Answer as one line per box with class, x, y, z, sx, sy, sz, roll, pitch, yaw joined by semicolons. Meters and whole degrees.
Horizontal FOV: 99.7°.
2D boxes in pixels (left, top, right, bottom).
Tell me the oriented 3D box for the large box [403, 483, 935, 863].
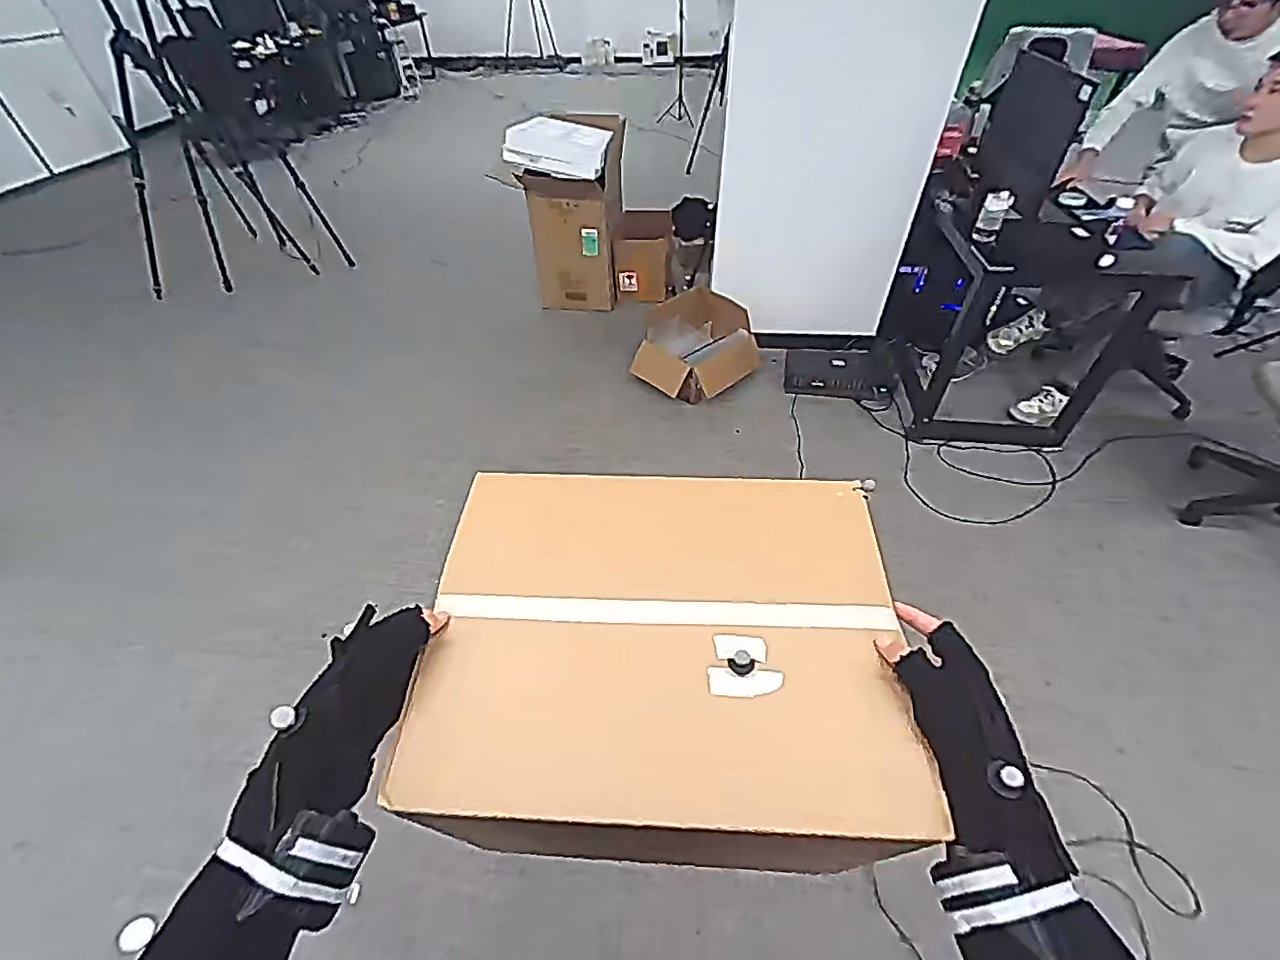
large box;0.025;0.219;0.605;0.408;0.320;0.320;2;51;3
